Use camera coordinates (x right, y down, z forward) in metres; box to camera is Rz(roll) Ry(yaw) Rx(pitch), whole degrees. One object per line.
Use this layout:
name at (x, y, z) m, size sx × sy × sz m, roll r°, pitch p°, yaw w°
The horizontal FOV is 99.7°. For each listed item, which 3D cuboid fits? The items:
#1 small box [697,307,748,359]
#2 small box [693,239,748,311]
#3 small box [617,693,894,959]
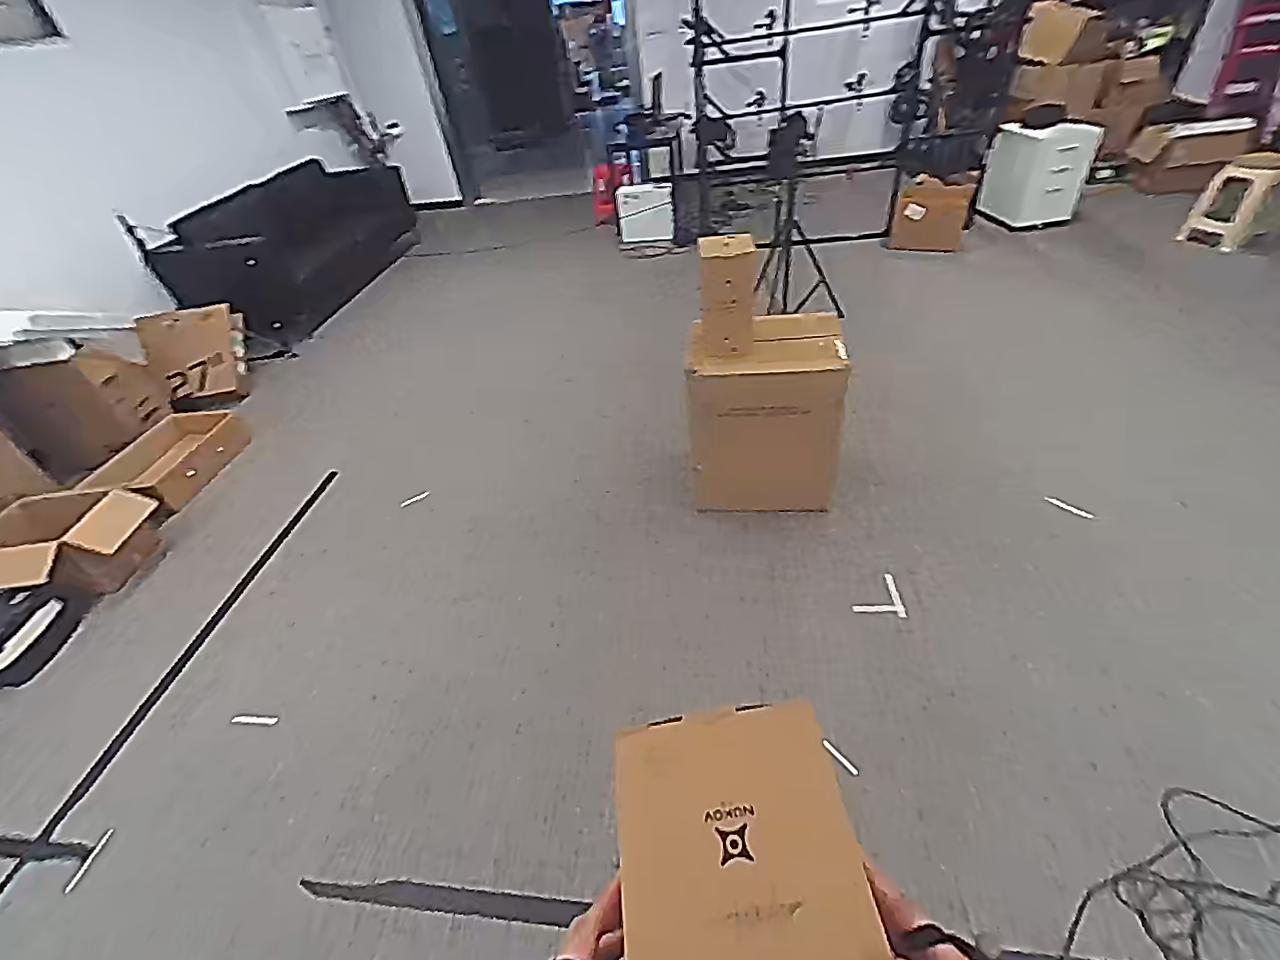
small box at (0.278, -0.526, 1.836) m, size 0.168 × 0.176 × 0.179 m, roll -2°, pitch 42°, yaw 8°
small box at (0.258, -0.650, 1.730) m, size 0.168 × 0.176 × 0.179 m, roll -3°, pitch 42°, yaw 6°
small box at (0.080, 0.302, 0.442) m, size 0.168 × 0.176 × 0.179 m, roll -11°, pitch 46°, yaw 3°
